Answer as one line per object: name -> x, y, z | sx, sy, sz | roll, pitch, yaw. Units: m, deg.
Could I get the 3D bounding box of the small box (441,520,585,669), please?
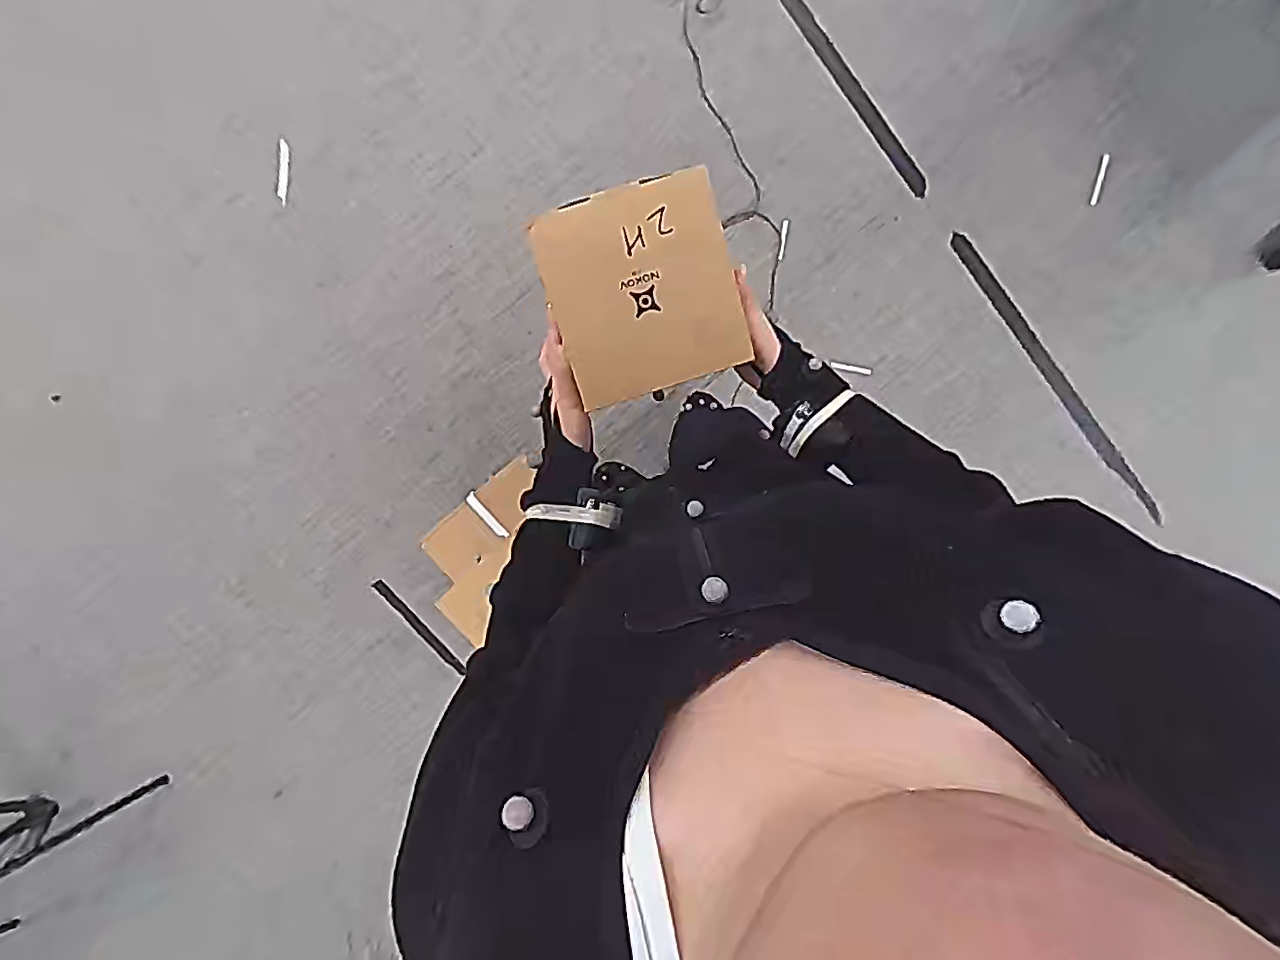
small box -> -0.214, 0.191, 0.963 | 0.179, 0.176, 0.168 | -43, 95, 1

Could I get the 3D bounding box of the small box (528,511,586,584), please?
small box -> -0.225, 0.185, 1.125 | 0.179, 0.176, 0.168 | -42, 96, 0
